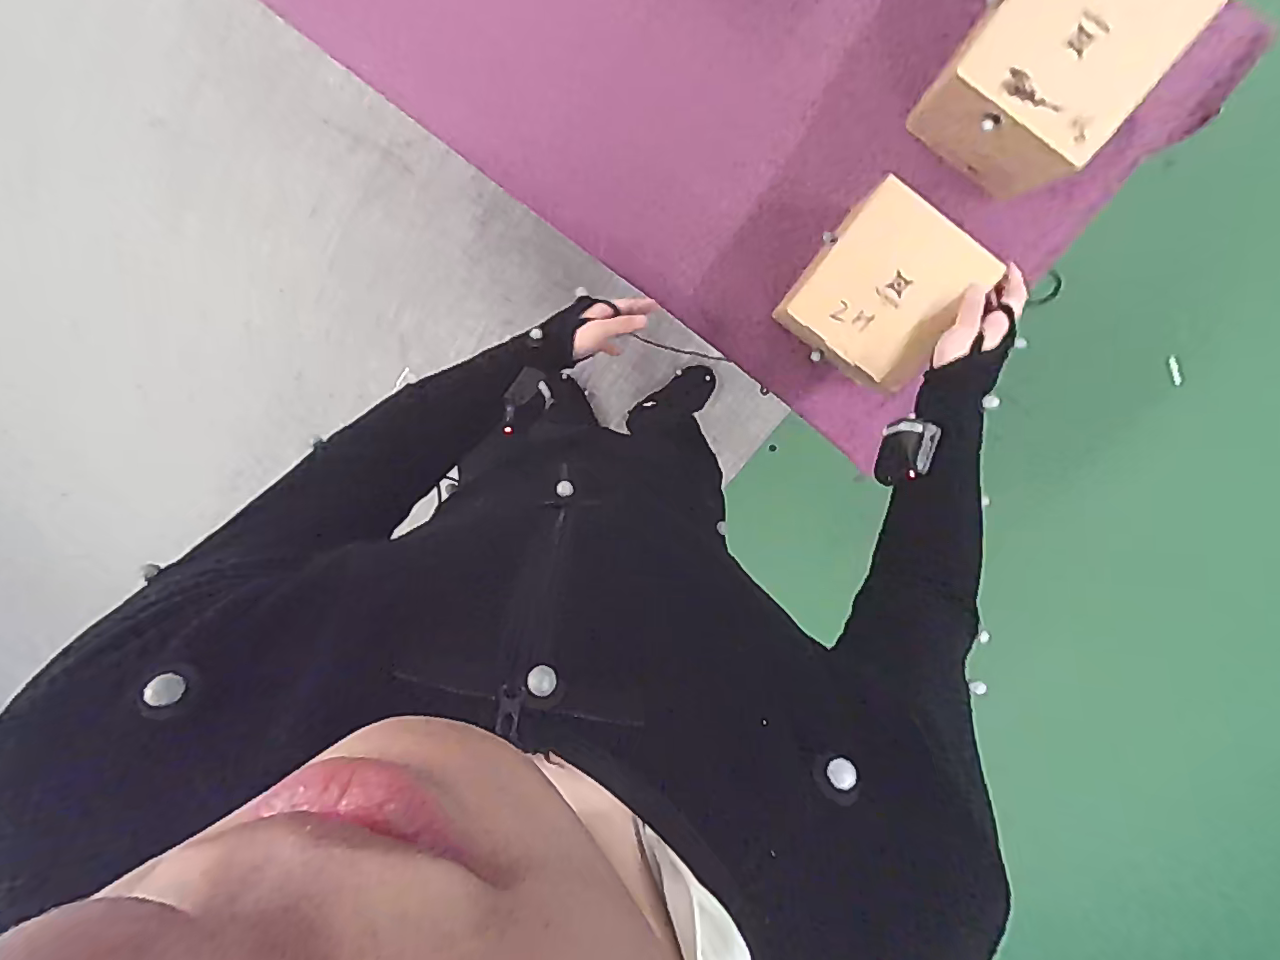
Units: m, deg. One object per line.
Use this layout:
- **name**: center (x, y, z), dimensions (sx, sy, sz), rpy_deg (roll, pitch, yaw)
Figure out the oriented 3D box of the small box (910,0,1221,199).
- **small box**: center (0.440, -0.451, 0.599), dimensions (0.168, 0.176, 0.179), rpy_deg (36, 108, -2)
